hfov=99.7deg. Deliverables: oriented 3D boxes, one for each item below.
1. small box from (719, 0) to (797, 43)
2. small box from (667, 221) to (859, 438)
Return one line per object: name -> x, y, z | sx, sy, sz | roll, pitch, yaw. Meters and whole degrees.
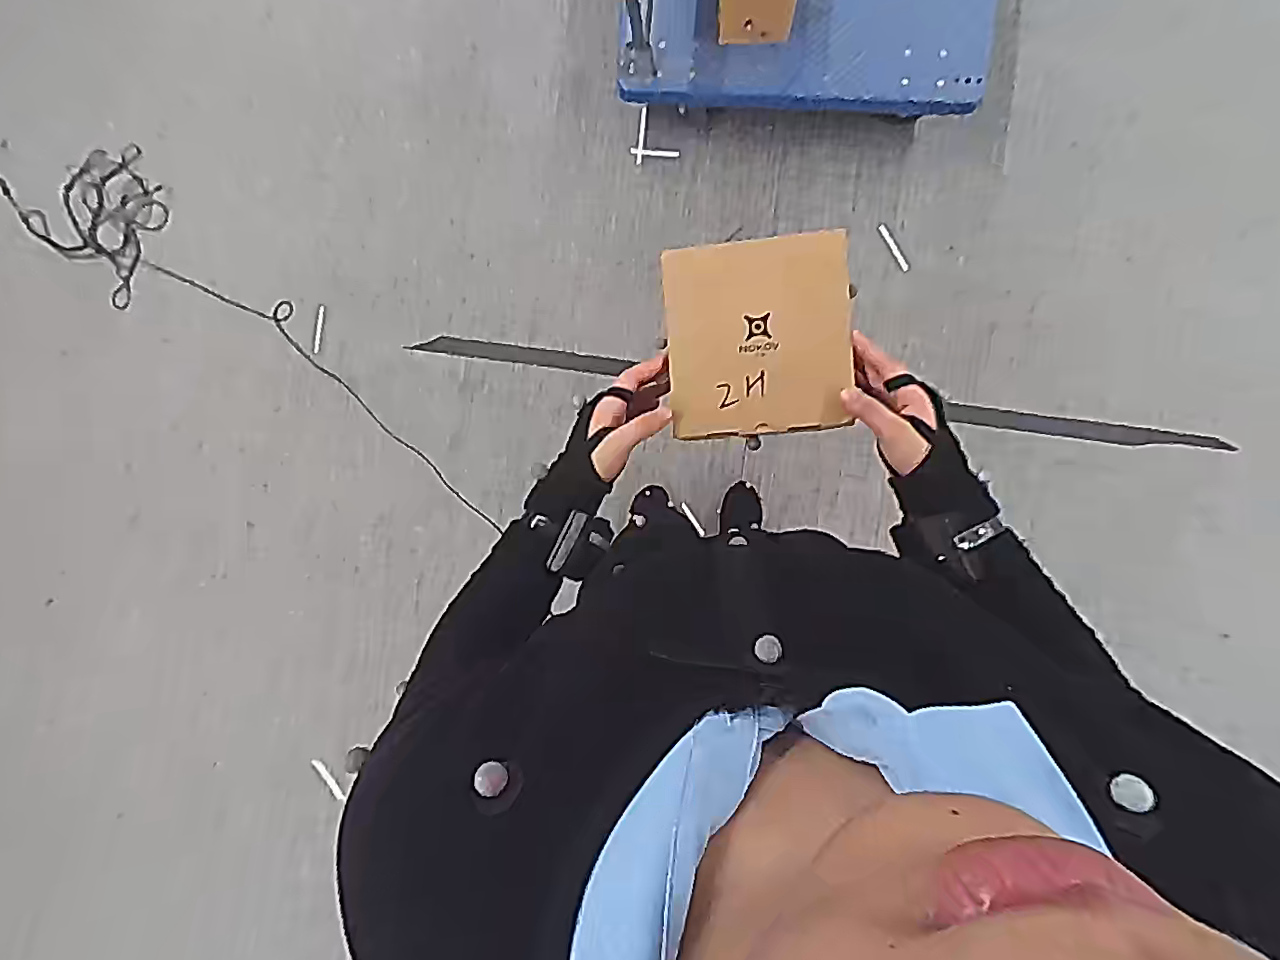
small box -> 0.267, -1.131, 1.208 | 0.168, 0.176, 0.179 | 2, 91, 5
small box -> 0.119, -0.139, 0.562 | 0.168, 0.176, 0.179 | -4, 93, 9
